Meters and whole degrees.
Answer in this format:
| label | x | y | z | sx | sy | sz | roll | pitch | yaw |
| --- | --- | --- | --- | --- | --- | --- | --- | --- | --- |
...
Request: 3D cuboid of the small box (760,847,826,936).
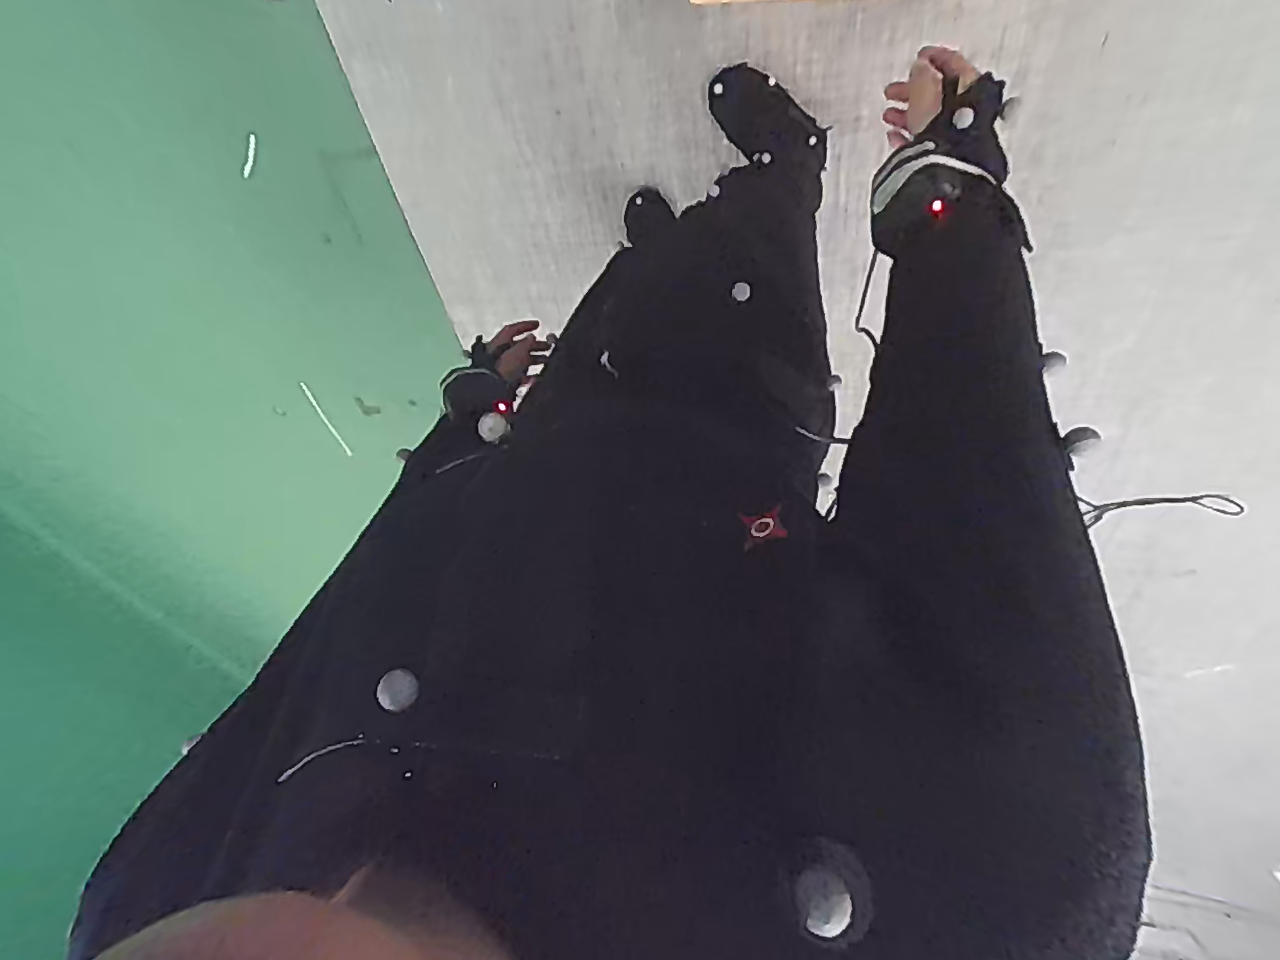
| label | x | y | z | sx | sy | sz | roll | pitch | yaw |
| --- | --- | --- | --- | --- | --- | --- | --- | --- | --- |
| small box | 0.451 | 1.214 | 1.600 | 0.179 | 0.176 | 0.168 | 4 | 136 | 16 |
